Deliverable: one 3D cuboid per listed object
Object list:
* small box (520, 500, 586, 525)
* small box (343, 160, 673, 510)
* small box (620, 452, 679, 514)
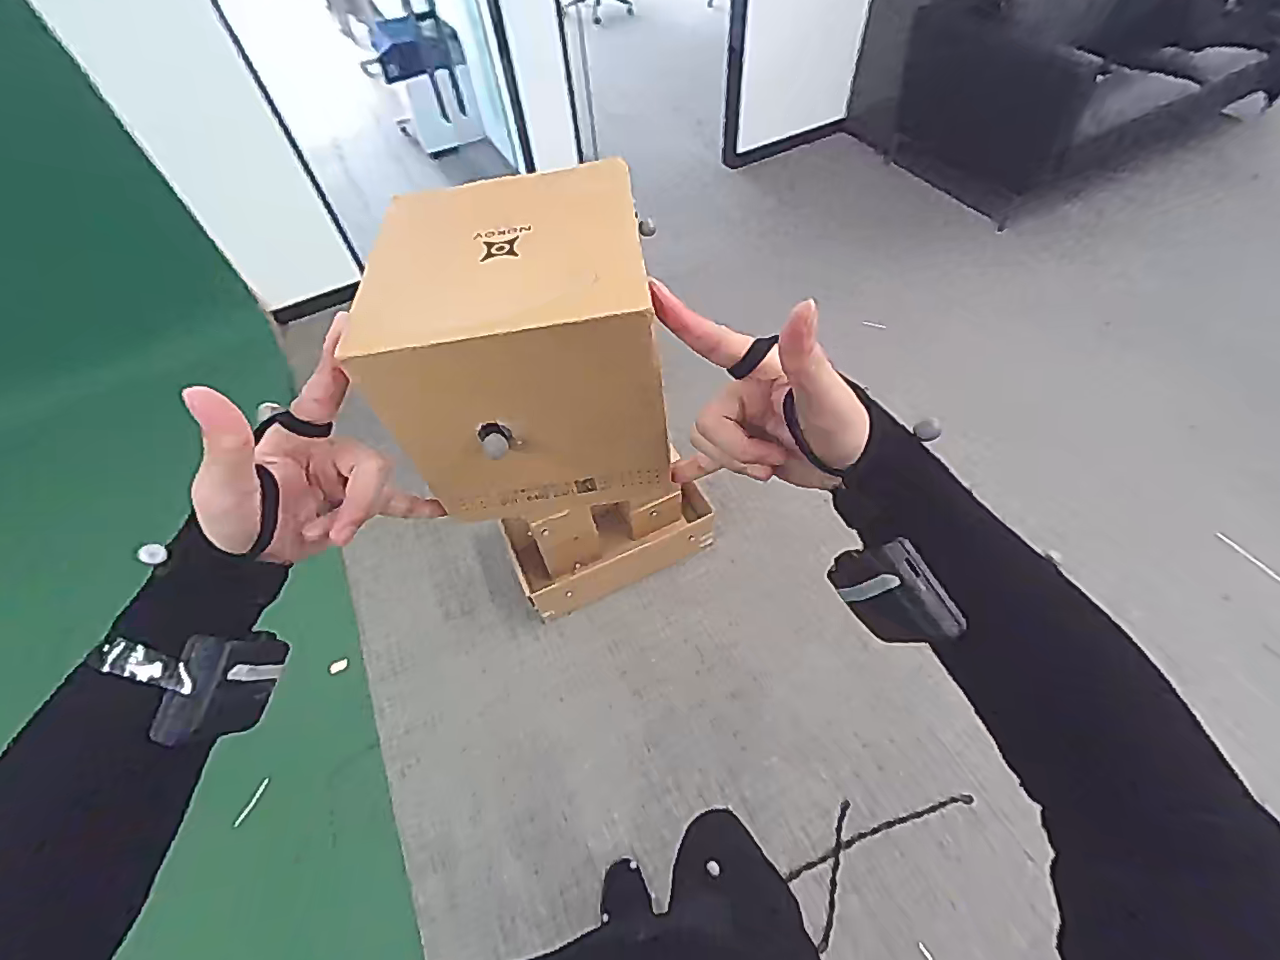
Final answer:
[{"bbox_3d":[-0.254,-0.010,1.419,0.179,0.176,0.168,-22,55,-12],"label":"small box"},{"bbox_3d":[-0.071,-0.092,0.387,0.168,0.176,0.179,-9,51,2],"label":"small box"},{"bbox_3d":[0.006,-0.025,1.614,0.179,0.176,0.168,-25,58,-13],"label":"small box"}]
